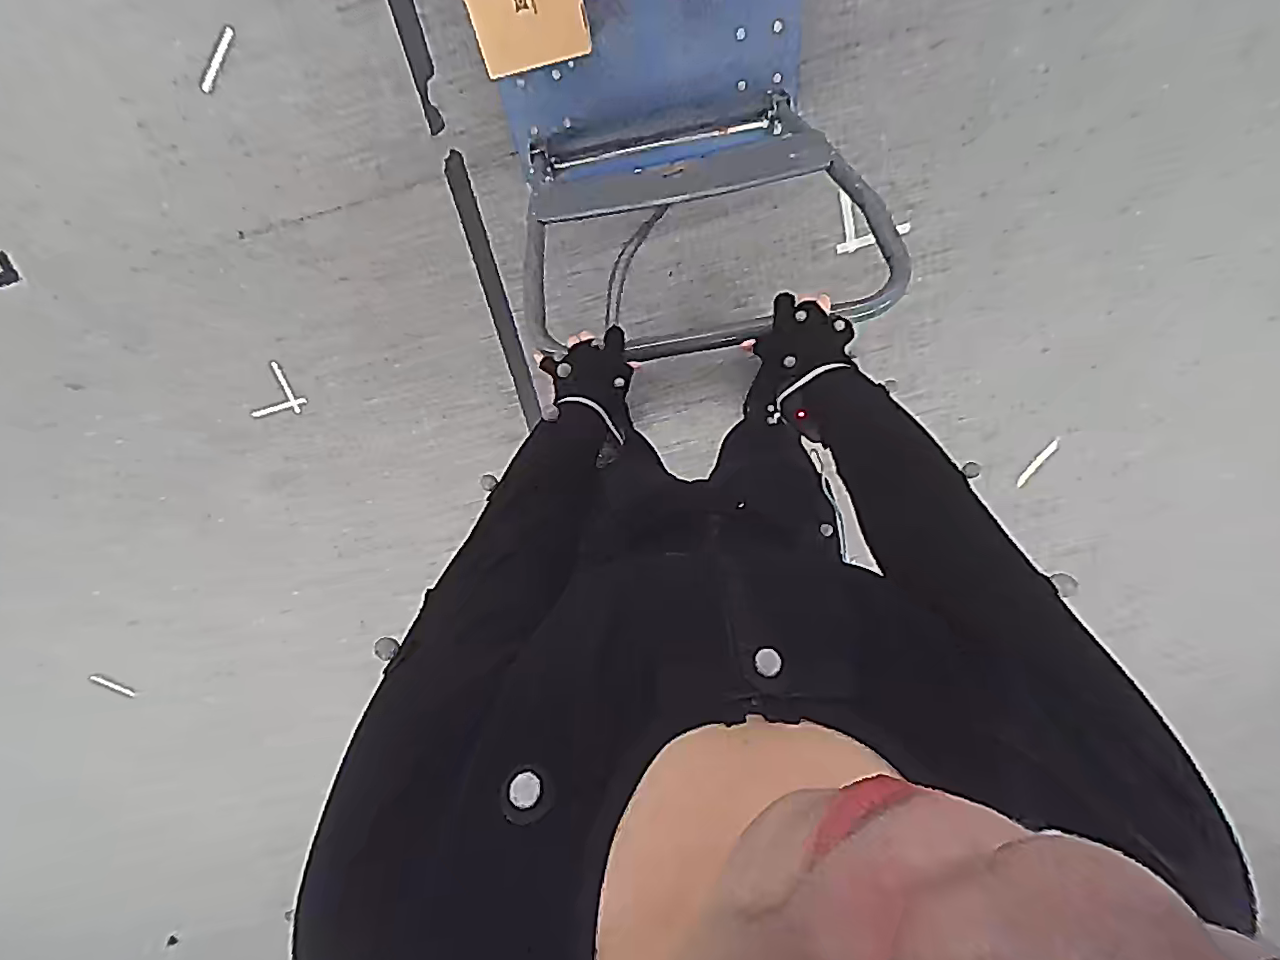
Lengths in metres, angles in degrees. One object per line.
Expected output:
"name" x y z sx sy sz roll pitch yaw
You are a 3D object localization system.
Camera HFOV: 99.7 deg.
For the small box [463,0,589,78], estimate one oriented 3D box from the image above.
"small box" -0.187 -0.787 0.882 0.179 0.176 0.168 -13 135 5
